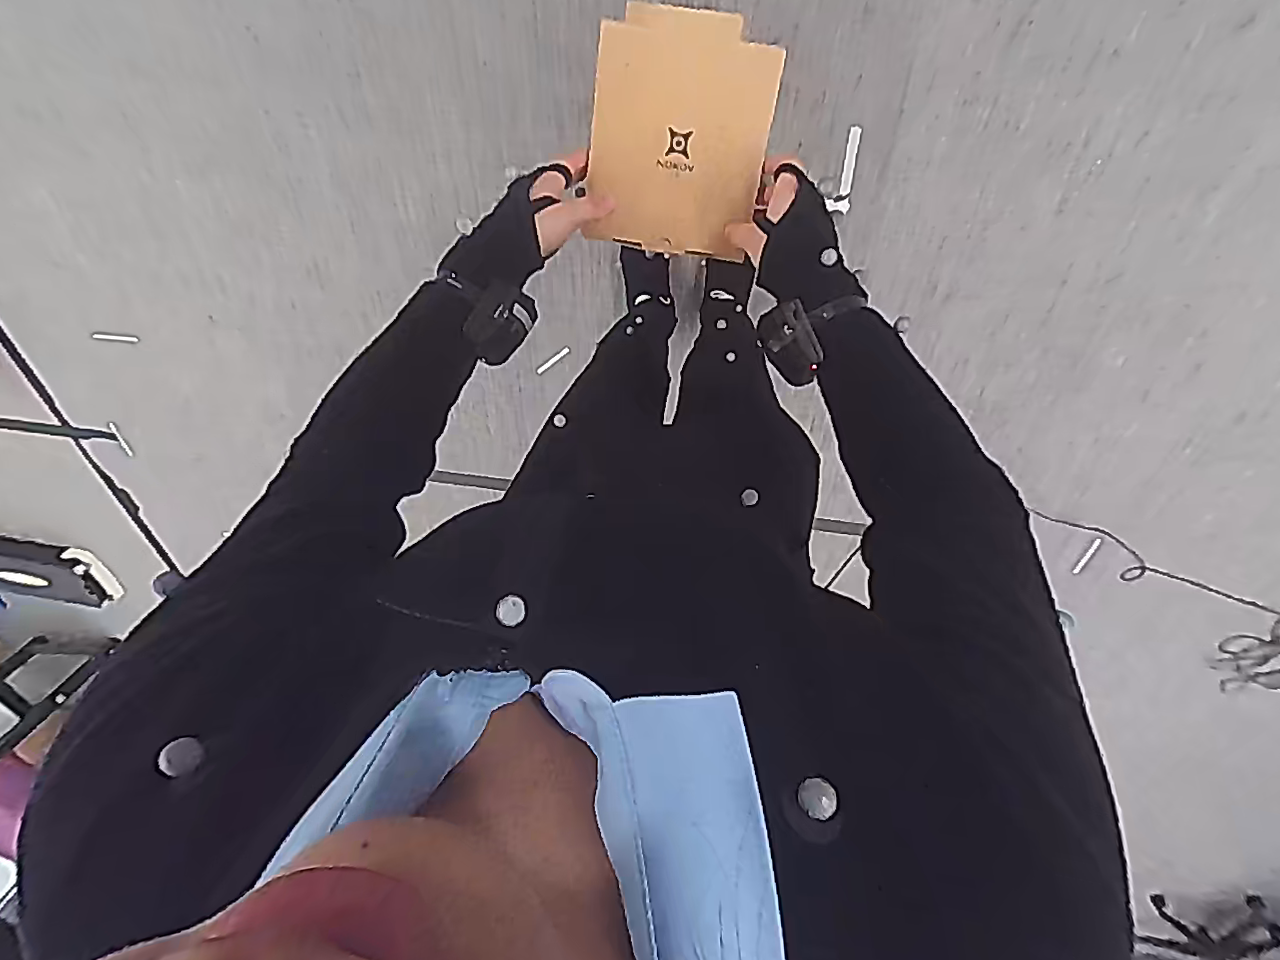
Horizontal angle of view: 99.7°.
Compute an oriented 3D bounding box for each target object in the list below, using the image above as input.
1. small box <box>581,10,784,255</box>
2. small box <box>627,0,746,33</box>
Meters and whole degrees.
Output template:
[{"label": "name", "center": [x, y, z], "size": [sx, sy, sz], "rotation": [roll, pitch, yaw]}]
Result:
[{"label": "small box", "center": [0.037, -0.348, 0.572], "size": [0.168, 0.176, 0.179], "rotation": [8, 117, -1]}, {"label": "small box", "center": [0.065, -0.624, 0.847], "size": [0.168, 0.176, 0.179], "rotation": [11, 128, 4]}]
